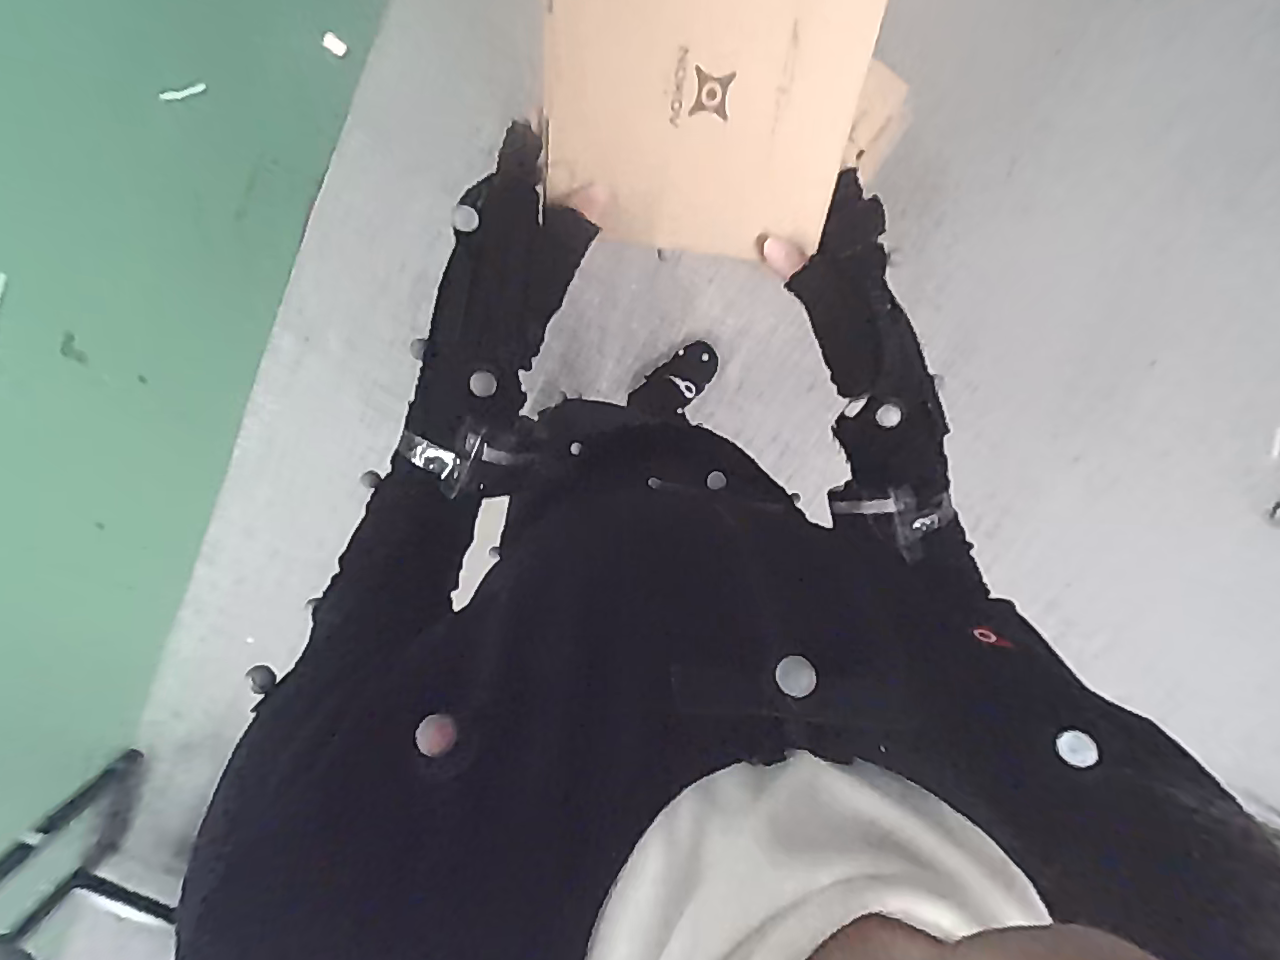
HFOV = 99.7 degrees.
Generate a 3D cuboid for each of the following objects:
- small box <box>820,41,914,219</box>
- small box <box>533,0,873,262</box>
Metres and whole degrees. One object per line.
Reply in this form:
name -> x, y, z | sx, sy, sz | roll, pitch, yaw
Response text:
small box -> 0.206, -0.458, 0.705 | 0.179, 0.176, 0.168 | 33, 108, -6
small box -> 0.027, -0.257, 0.365 | 0.179, 0.176, 0.168 | 2, 124, -5
